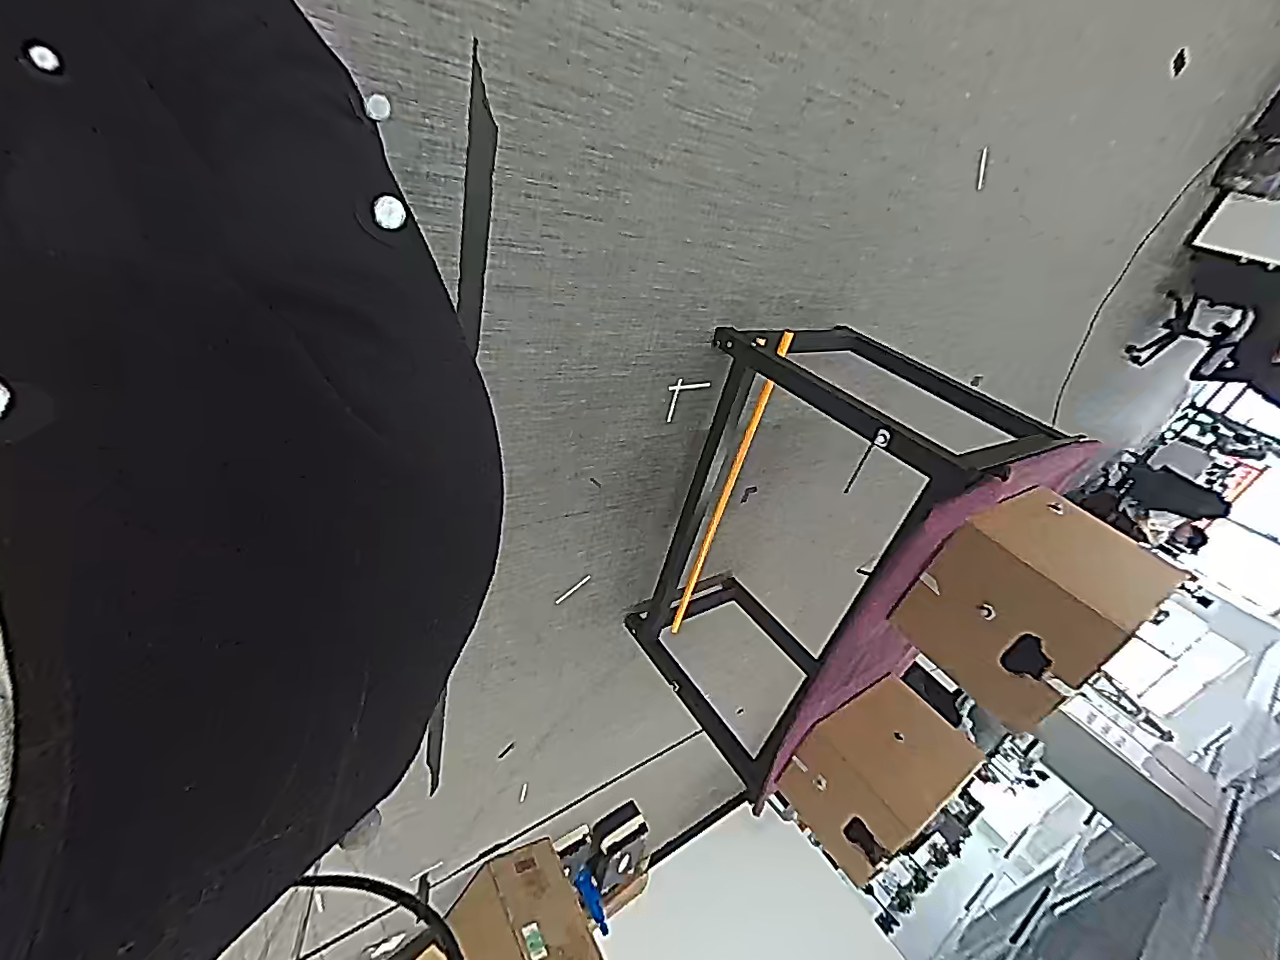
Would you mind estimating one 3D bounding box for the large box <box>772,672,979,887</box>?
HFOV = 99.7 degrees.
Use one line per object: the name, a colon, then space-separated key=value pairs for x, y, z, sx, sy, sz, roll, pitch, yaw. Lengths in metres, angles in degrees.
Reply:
large box: x=0.651 y=0.820 z=1.529 sx=0.408 sy=0.320 sz=0.320 roll=-12 pitch=132 yaw=-36
